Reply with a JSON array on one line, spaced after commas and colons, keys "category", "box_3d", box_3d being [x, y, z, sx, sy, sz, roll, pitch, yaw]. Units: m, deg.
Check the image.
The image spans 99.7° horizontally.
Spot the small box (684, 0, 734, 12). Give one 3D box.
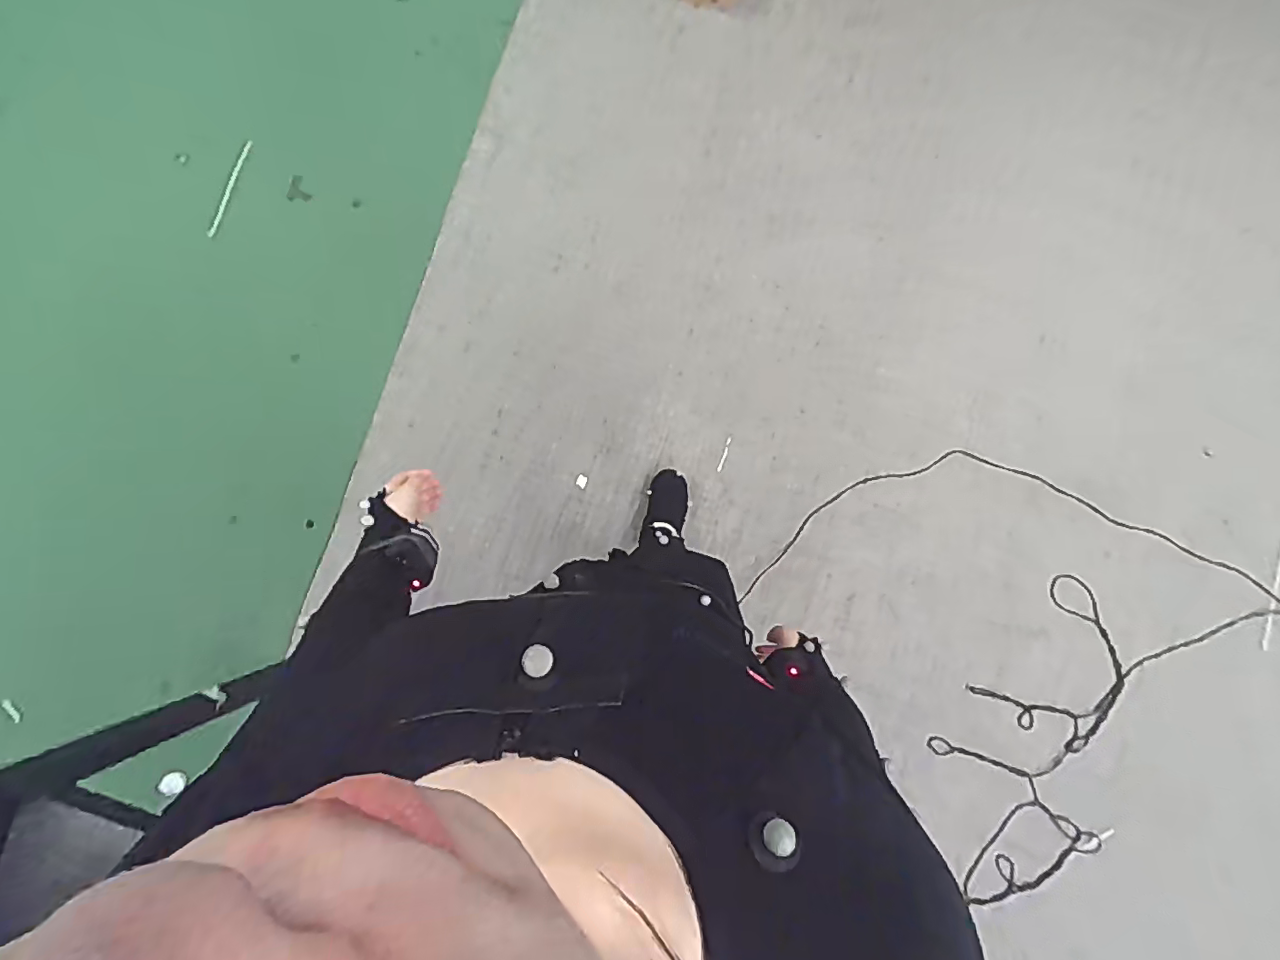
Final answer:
[{"category": "small box", "box_3d": [0.216, -1.518, 1.557, 0.168, 0.176, 0.179, 14, 85, 2]}]
